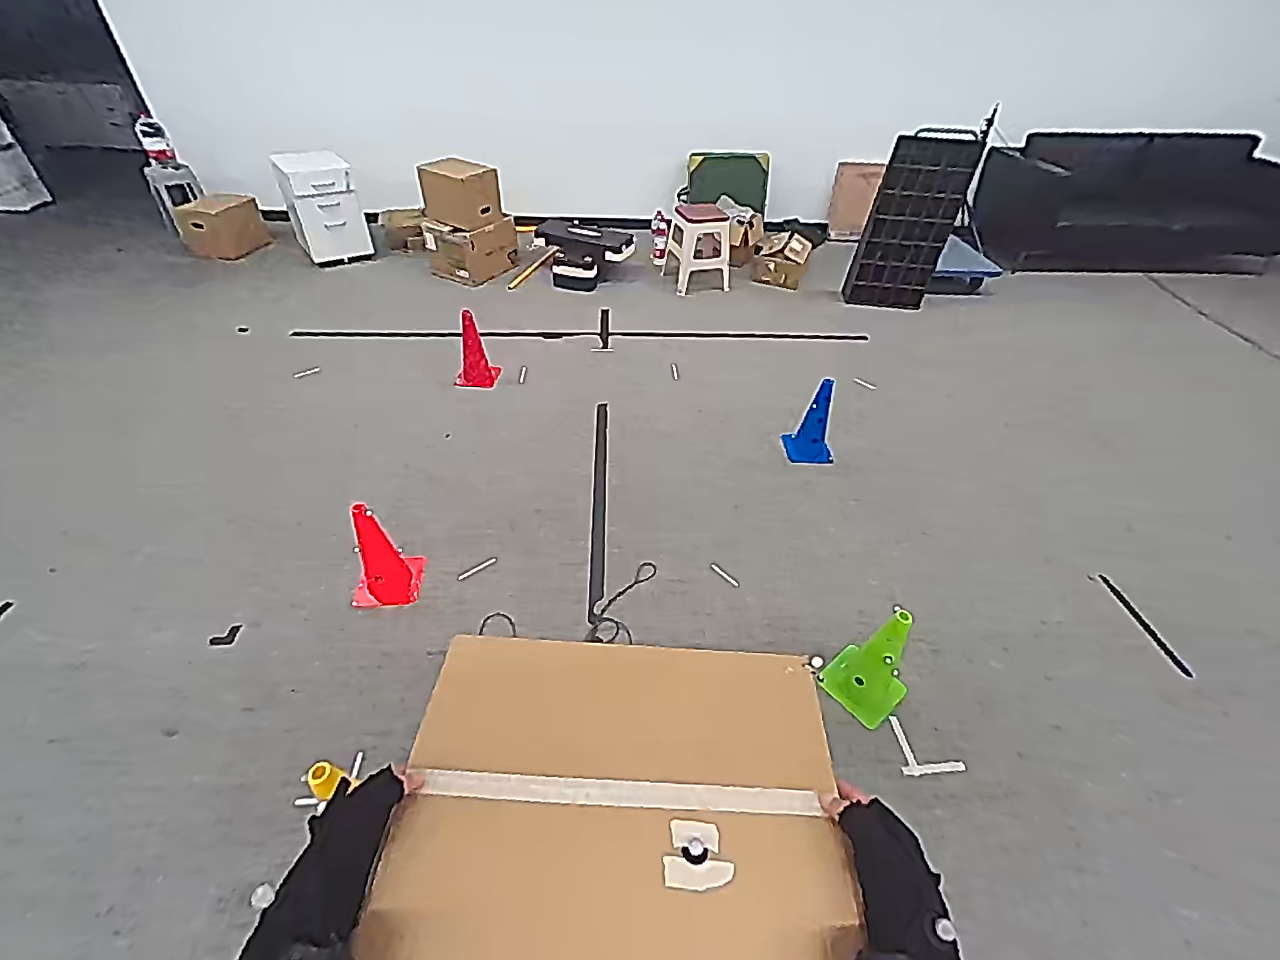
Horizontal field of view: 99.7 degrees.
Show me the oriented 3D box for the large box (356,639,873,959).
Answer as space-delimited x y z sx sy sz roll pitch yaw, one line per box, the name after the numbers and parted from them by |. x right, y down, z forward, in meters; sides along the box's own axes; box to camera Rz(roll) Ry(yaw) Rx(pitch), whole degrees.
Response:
-0.021 0.406 0.598 0.408 0.320 0.320 4 41 0 | large box

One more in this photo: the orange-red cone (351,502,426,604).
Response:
-0.830 0.206 1.700 0.198 0.360 0.199 -2 44 -5 | orange-red cone

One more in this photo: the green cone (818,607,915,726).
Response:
0.670 0.476 1.492 0.202 0.368 0.200 -27 51 -31 | green cone

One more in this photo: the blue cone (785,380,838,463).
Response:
0.773 -0.263 2.343 0.192 0.380 0.193 3 42 -2 | blue cone

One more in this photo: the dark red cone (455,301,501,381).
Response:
-0.815 -0.683 2.650 0.201 0.394 0.202 5 42 0 | dark red cone
